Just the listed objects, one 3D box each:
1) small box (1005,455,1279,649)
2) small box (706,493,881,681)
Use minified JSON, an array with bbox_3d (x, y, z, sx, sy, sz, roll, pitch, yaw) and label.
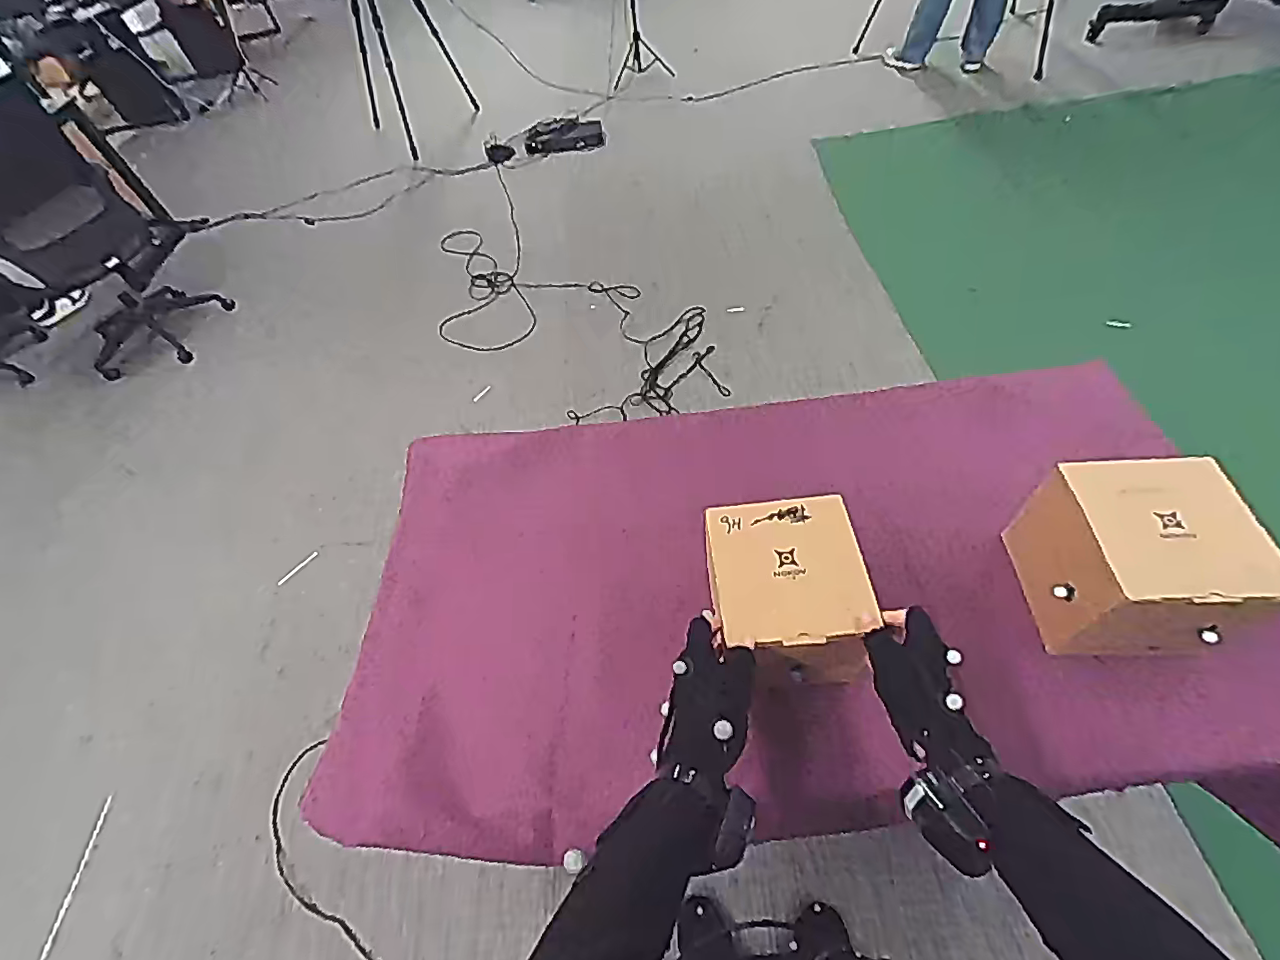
[{"bbox_3d":[0.576,0.091,0.640,0.168,0.176,0.179,-2,54,8],"label":"small box"},{"bbox_3d":[0.175,0.140,0.669,0.168,0.176,0.179,-6,54,4],"label":"small box"}]
